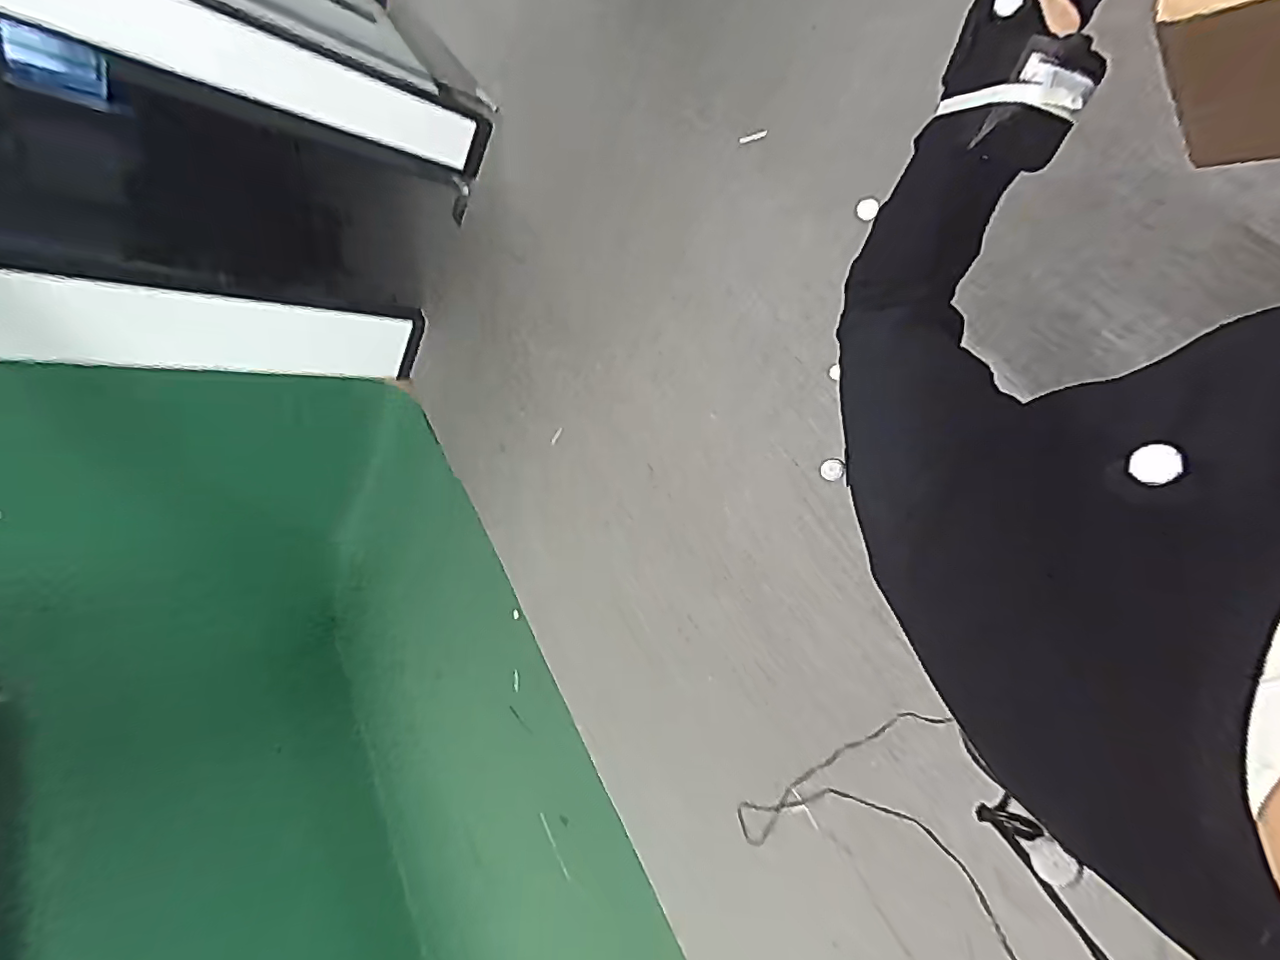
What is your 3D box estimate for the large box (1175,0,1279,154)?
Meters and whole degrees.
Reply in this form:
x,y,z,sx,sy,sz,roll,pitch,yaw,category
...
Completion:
x,y,z,sx,sy,sz,roll,pitch,yaw,category
0.561,-0.400,0.243,0.408,0.320,0.320,17,110,46,large box
